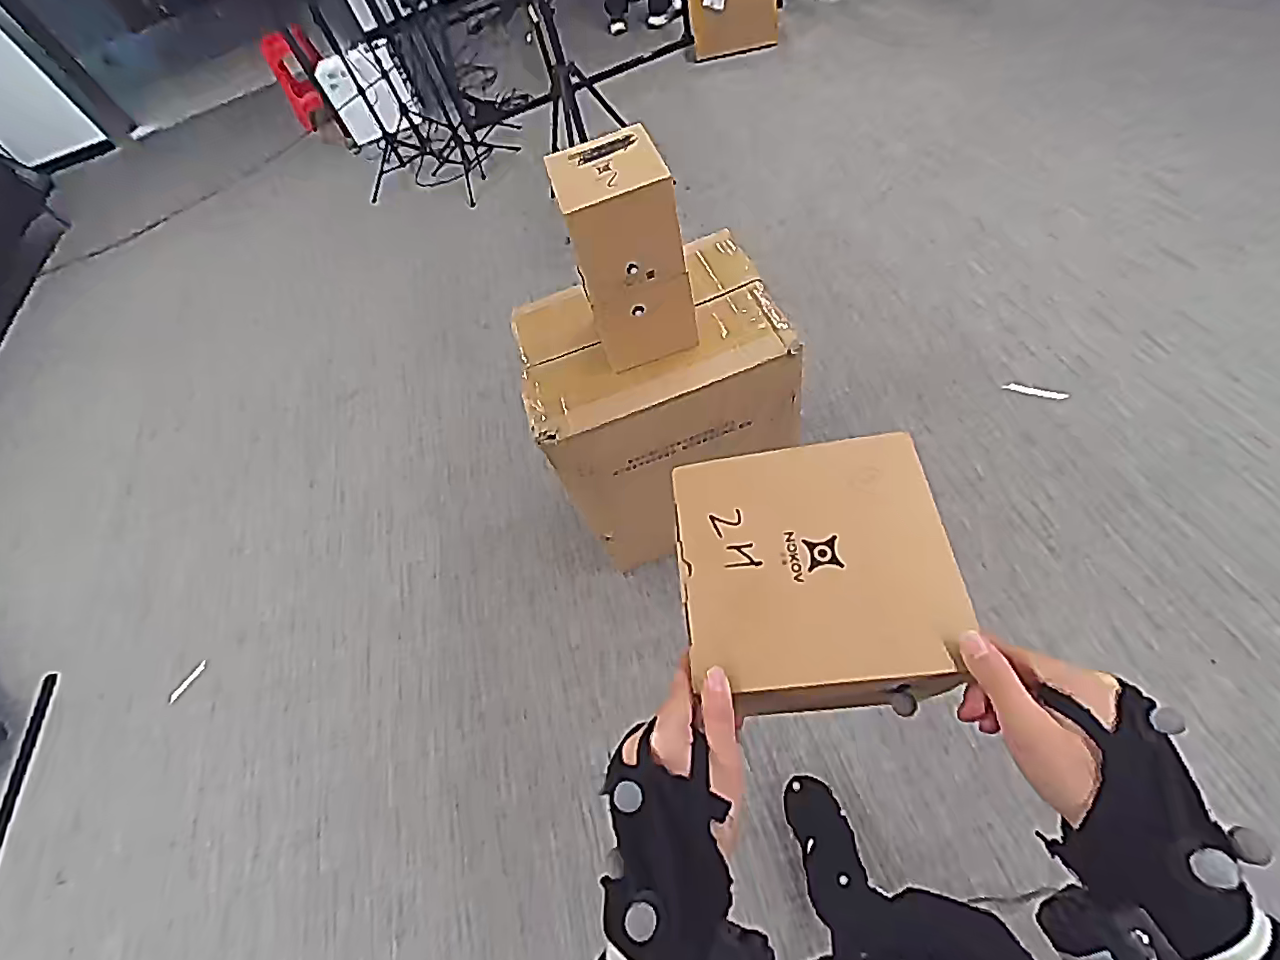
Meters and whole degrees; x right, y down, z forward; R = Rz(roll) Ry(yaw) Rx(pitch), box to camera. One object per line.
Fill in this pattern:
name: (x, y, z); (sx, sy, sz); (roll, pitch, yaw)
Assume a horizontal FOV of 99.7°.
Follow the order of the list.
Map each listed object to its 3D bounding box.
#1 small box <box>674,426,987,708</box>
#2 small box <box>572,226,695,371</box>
small box: (0.130, 0.081, 0.432); (0.179, 0.176, 0.168); (-9, 60, 9)
small box: (-0.008, -0.334, 1.018); (0.179, 0.176, 0.168); (-19, 56, 2)
